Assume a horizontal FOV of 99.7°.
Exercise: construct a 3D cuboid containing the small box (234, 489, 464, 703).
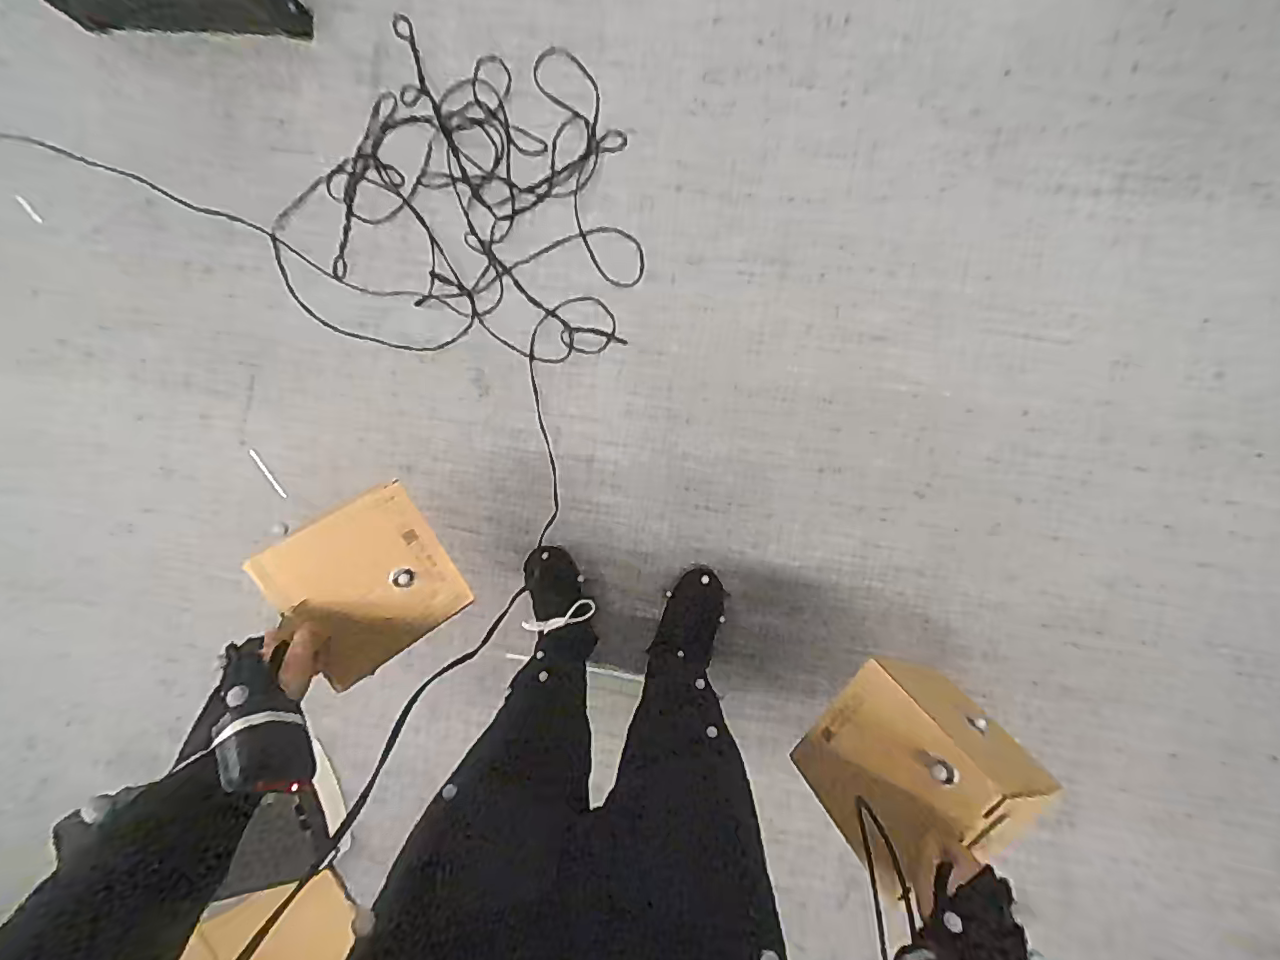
[{"bbox_3d":[-0.335,0.122,0.642,0.176,0.179,0.168,-36,105,-28],"label":"small box"}]
